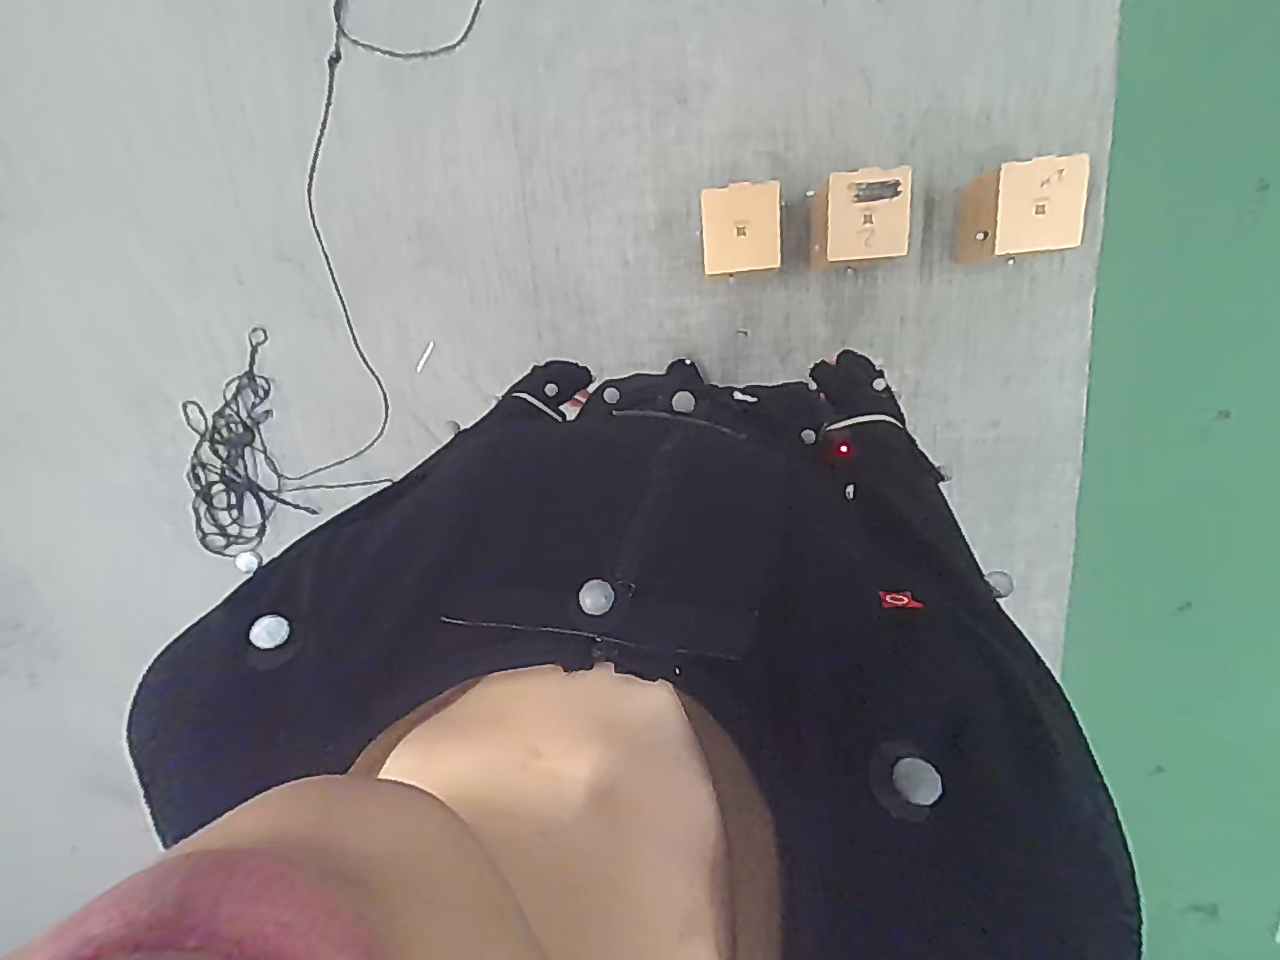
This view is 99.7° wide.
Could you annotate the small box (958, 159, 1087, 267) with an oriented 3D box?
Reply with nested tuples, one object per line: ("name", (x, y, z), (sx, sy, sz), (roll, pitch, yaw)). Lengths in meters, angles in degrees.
("small box", (0.809, -0.562, 1.164), (0.168, 0.176, 0.179), (-3, 103, 7))

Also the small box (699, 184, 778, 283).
("small box", (0.223, -0.551, 1.235), (0.168, 0.176, 0.179), (-3, 103, 8))
